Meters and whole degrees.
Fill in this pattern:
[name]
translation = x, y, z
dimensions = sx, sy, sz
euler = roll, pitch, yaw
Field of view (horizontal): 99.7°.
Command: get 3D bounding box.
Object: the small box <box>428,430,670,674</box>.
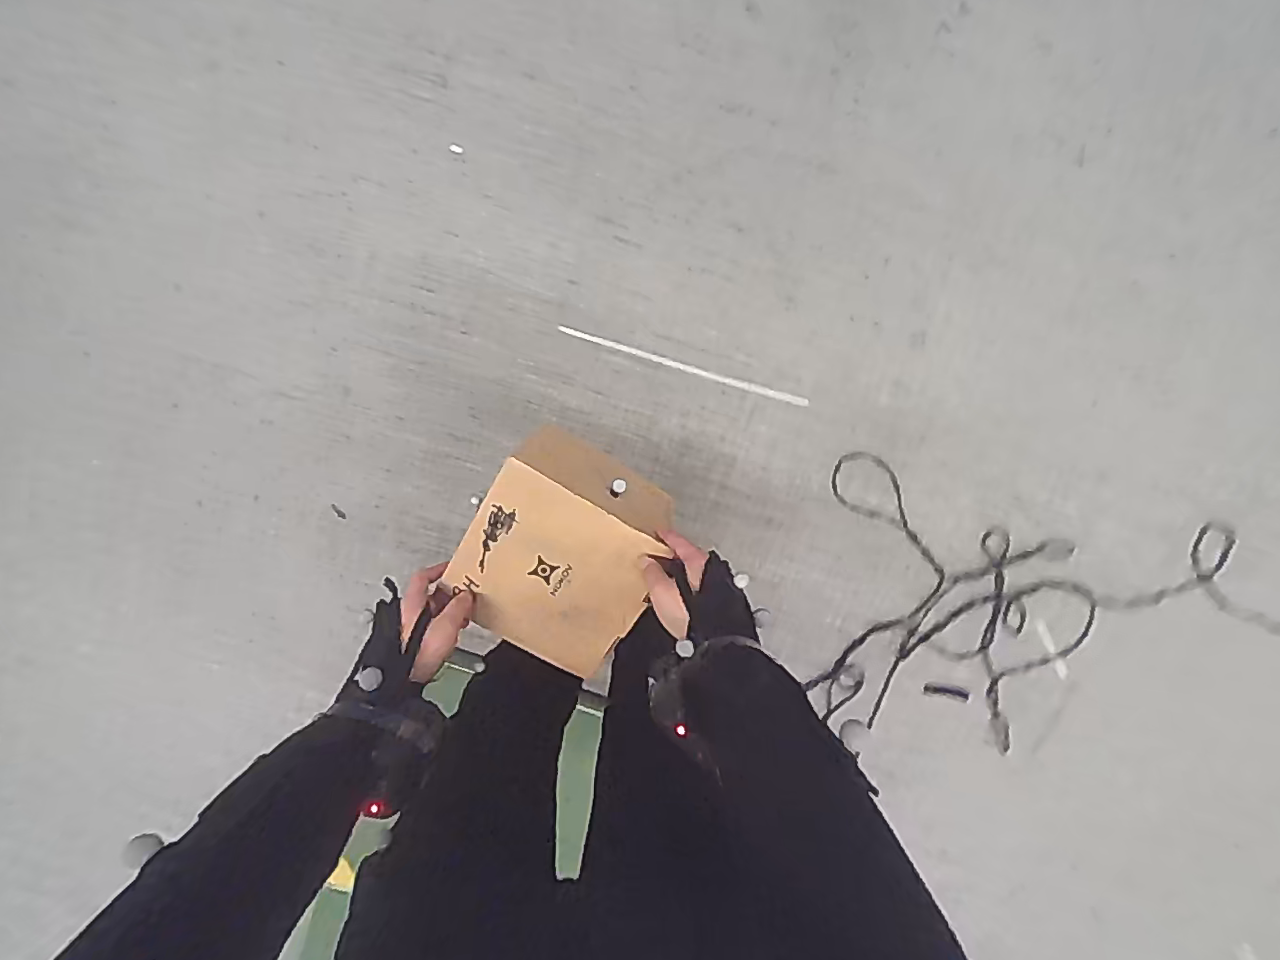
[small box]
translation = -0.086, 0.063, 0.578
dimensions = 0.179, 0.176, 0.168
euler = 29, 103, -8
